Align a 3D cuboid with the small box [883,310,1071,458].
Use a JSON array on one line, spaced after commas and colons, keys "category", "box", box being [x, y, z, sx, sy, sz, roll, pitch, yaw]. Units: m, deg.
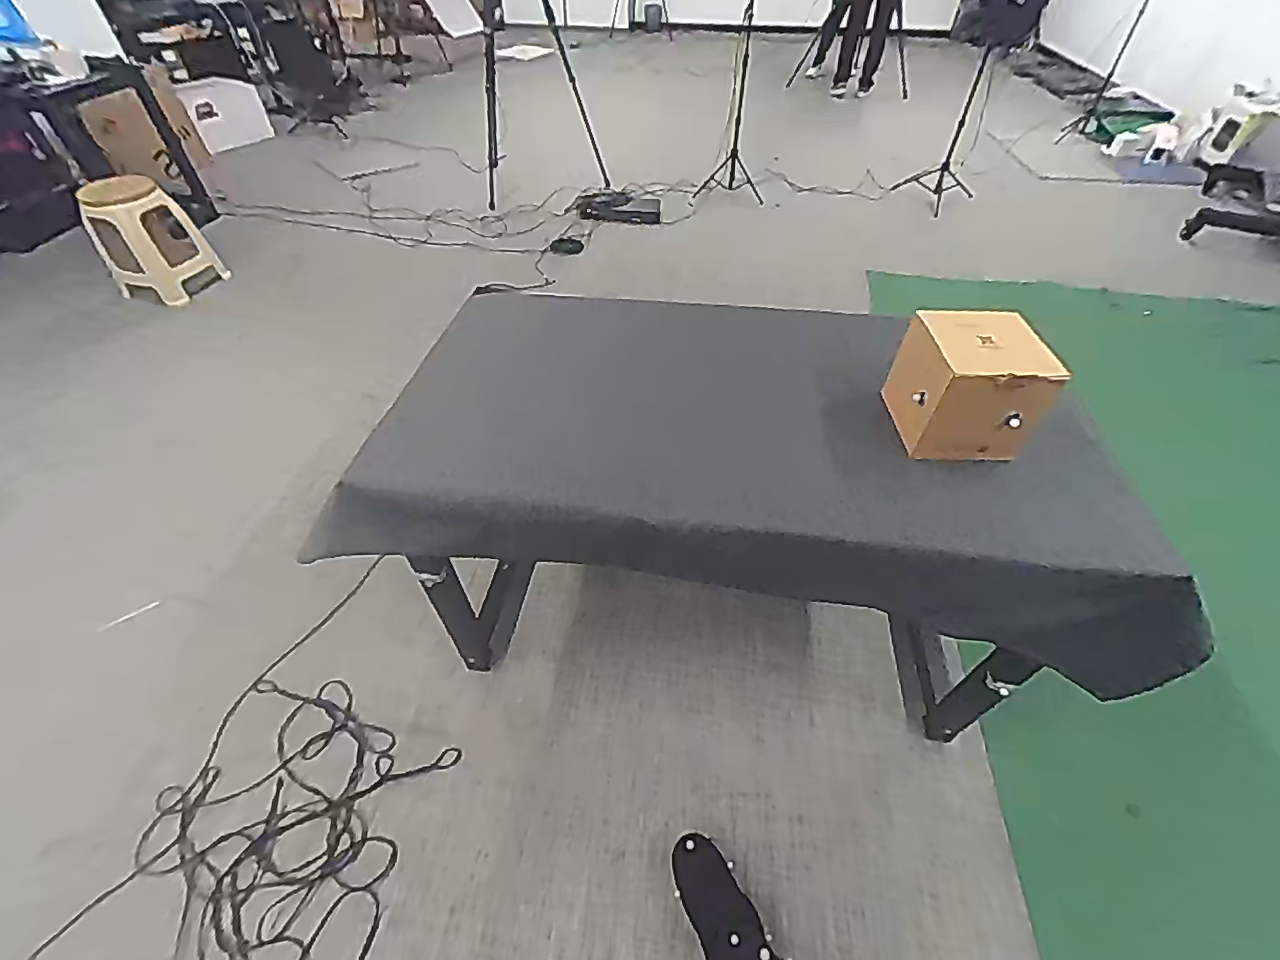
[{"category": "small box", "box": [0.515, -0.151, 0.859, 0.168, 0.176, 0.179, 2, 46, 0]}]
